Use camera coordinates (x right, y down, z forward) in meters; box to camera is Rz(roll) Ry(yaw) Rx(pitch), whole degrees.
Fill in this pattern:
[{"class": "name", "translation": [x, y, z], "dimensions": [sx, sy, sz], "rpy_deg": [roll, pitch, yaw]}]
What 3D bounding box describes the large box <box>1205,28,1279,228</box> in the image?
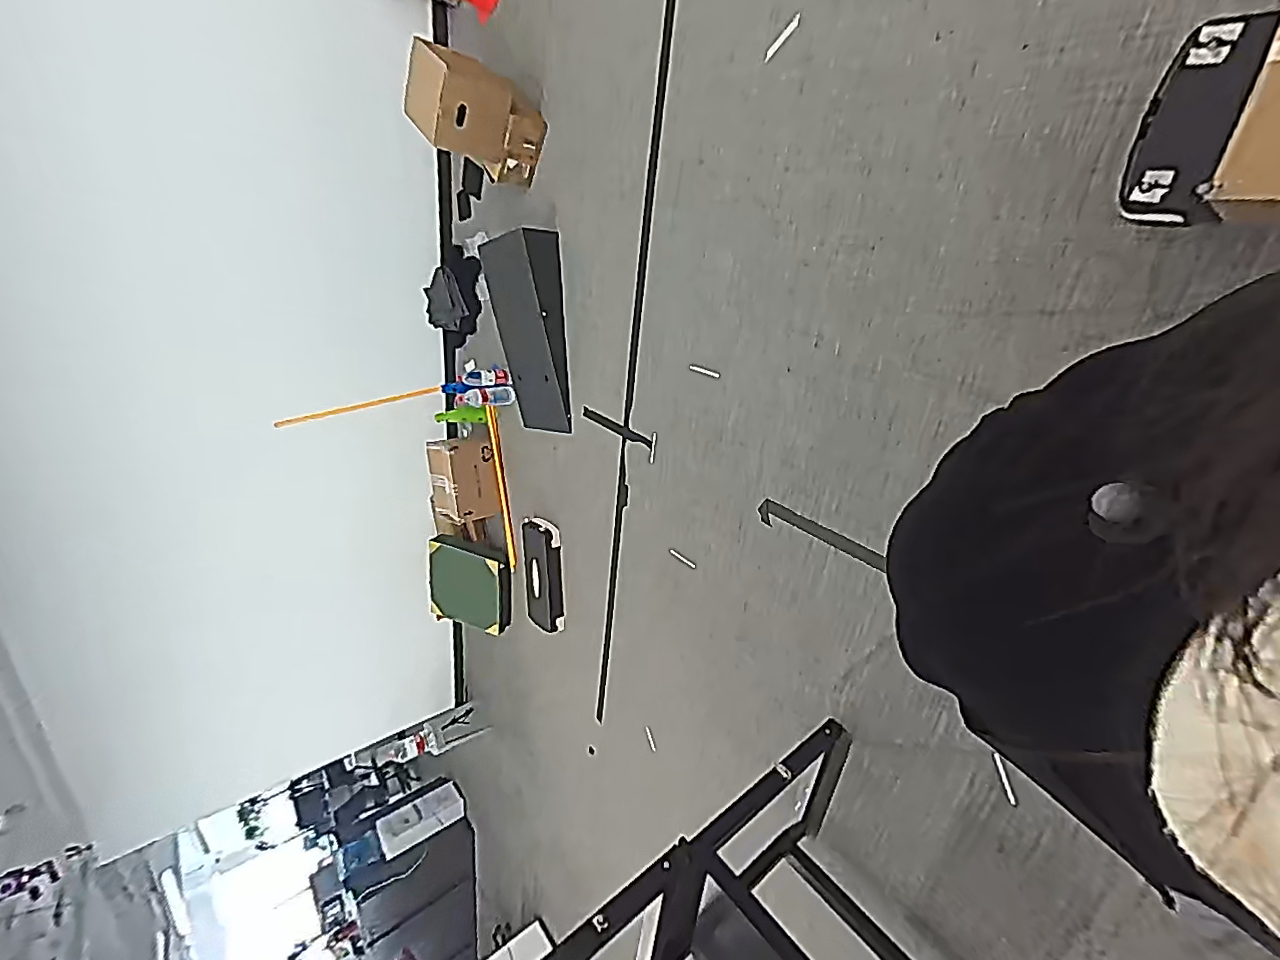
[{"class": "large box", "translation": [0.978, -0.452, 0.588], "dimensions": [0.408, 0.320, 0.320], "rpy_deg": [30, 121, 44]}]
